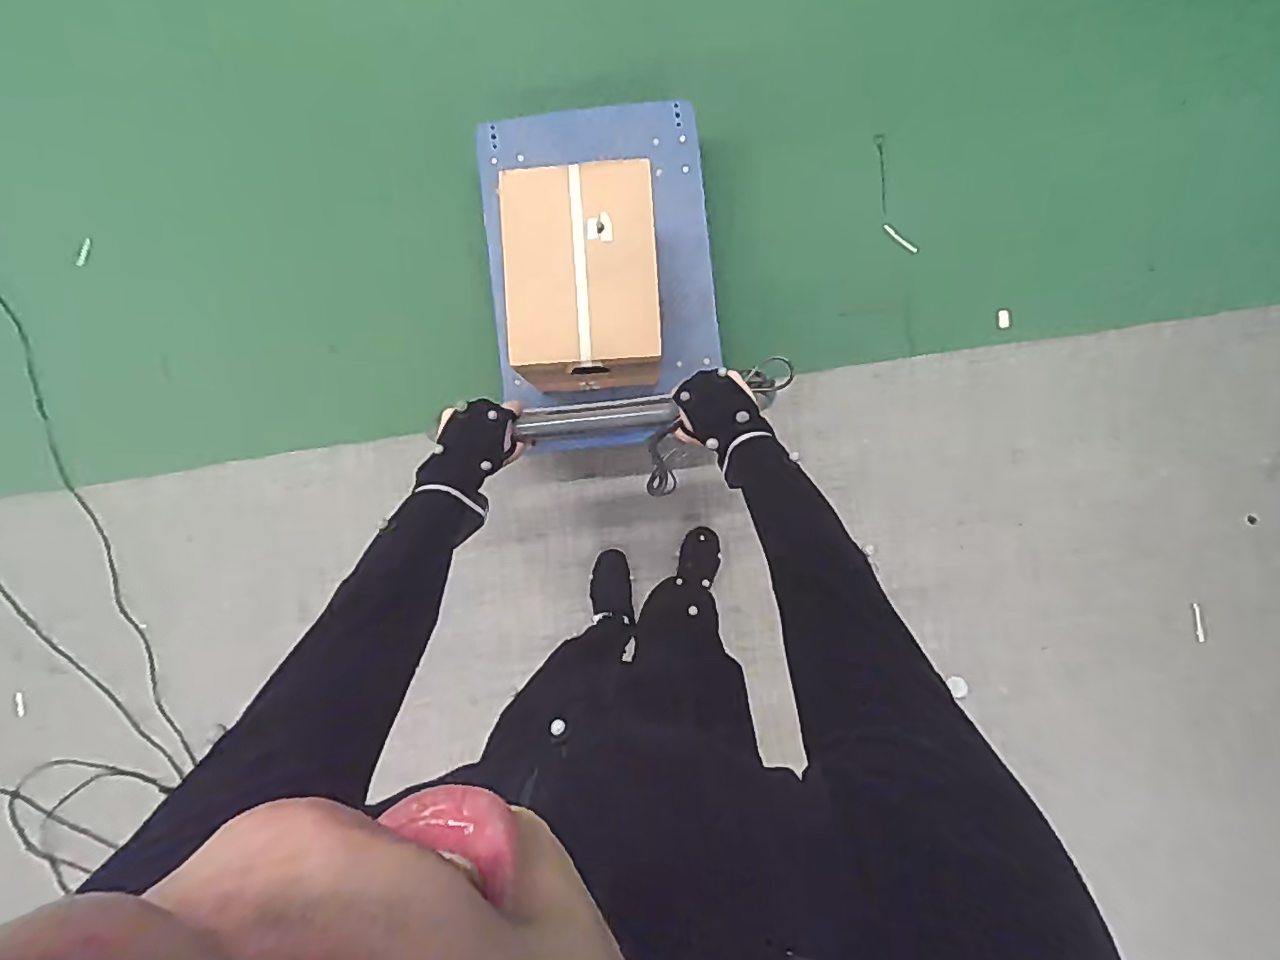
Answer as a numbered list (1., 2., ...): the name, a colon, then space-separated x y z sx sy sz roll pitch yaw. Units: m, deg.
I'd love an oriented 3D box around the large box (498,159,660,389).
1. large box: -0.121 -0.444 1.248 0.320 0.320 0.408 -3 89 1
